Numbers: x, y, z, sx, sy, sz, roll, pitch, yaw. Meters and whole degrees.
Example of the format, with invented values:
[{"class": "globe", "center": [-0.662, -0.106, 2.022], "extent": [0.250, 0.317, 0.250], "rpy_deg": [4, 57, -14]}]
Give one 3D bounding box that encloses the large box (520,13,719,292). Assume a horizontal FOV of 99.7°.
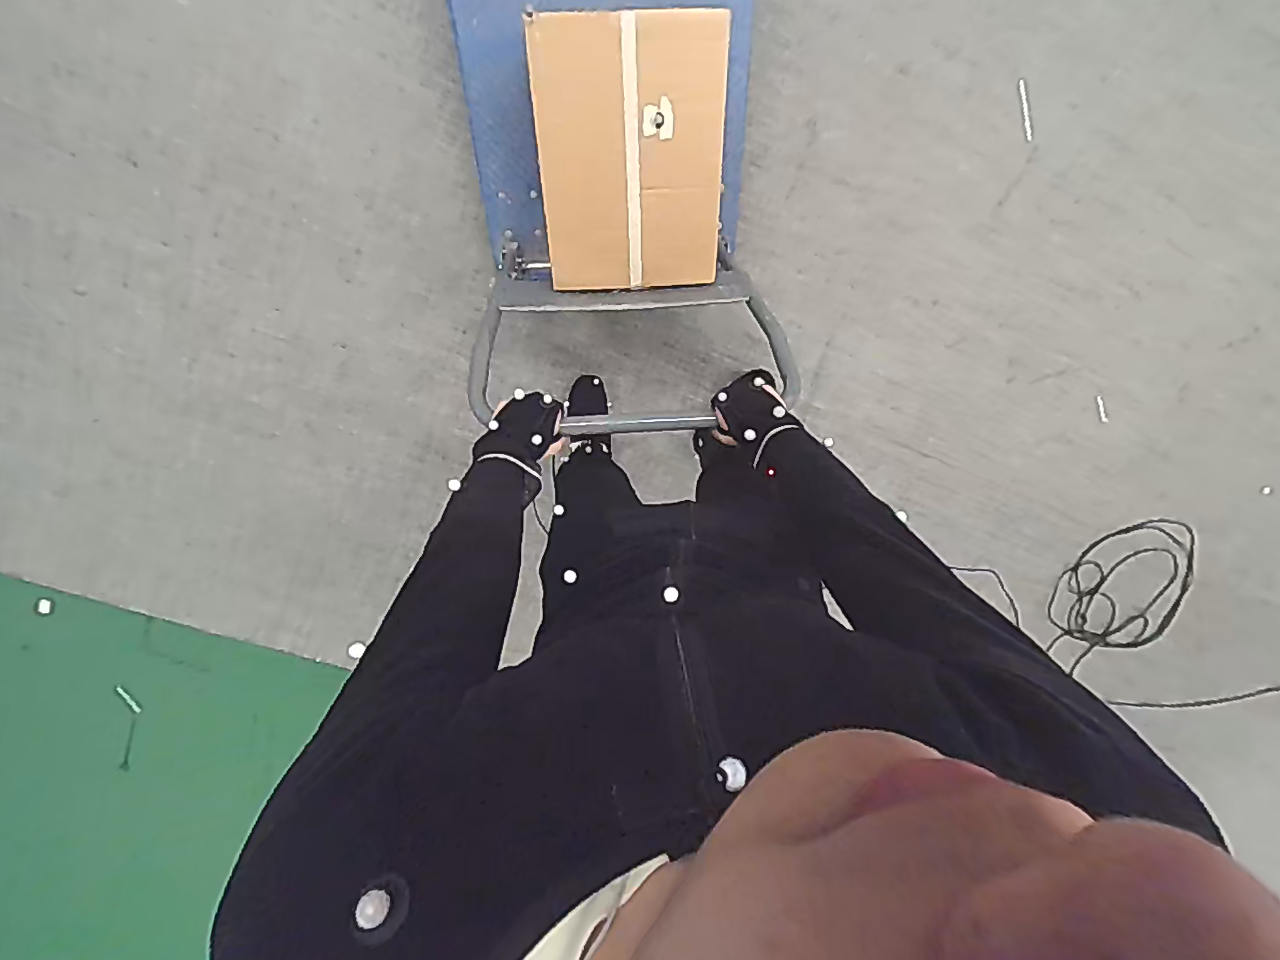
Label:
[{"class": "large box", "center": [-0.029, -0.618, 1.052], "extent": [0.320, 0.320, 0.408], "rpy_deg": [-5, 125, -3]}]
